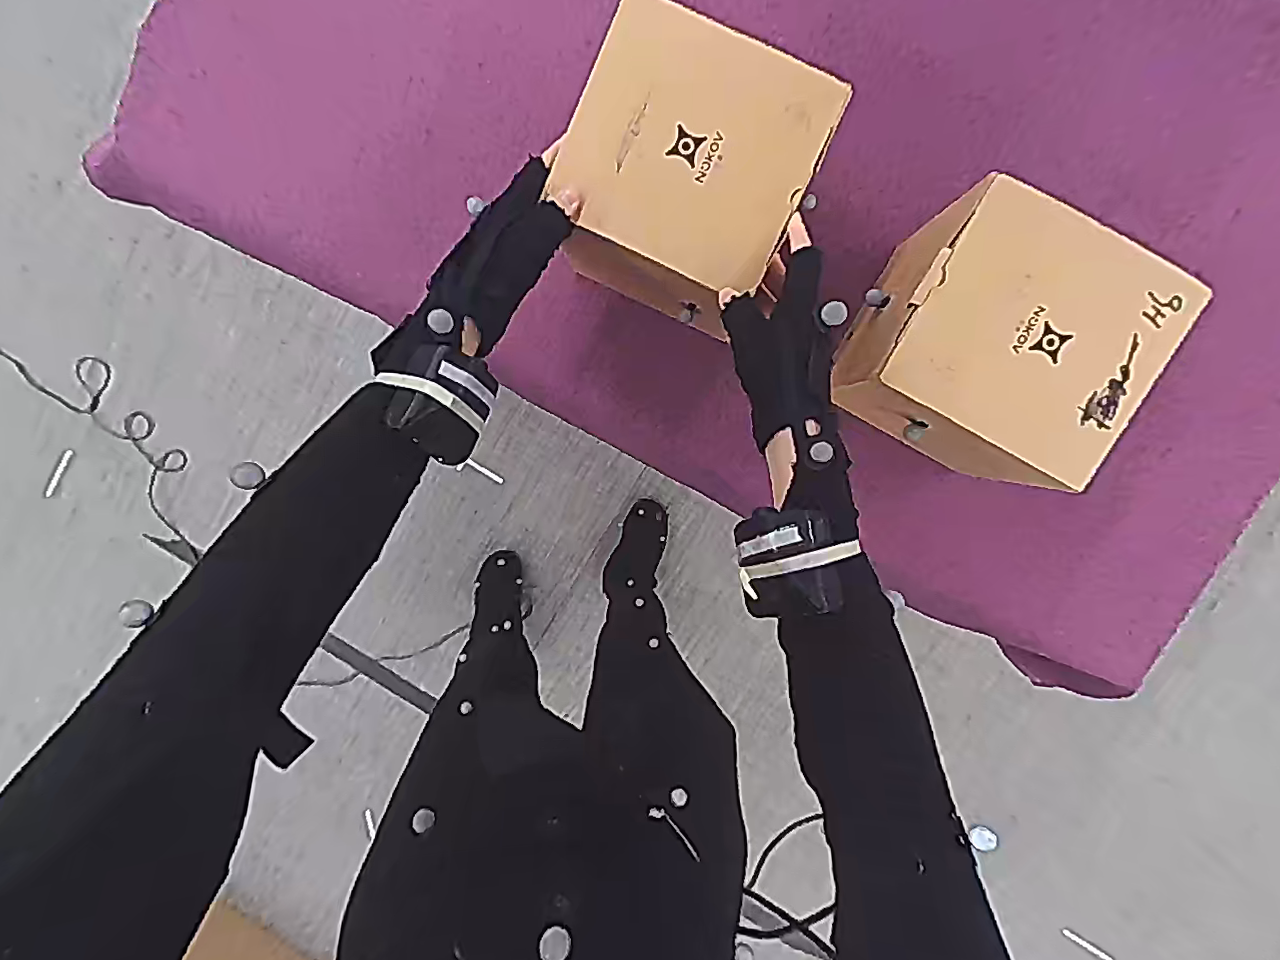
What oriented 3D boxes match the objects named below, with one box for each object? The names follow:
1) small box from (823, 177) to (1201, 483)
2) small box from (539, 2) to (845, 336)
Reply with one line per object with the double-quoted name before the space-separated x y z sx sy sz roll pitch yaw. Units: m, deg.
"small box" 0.288 -0.112 0.470 0.179 0.176 0.168 29 96 1
"small box" 0.040 -0.240 0.471 0.179 0.176 0.168 24 94 1
